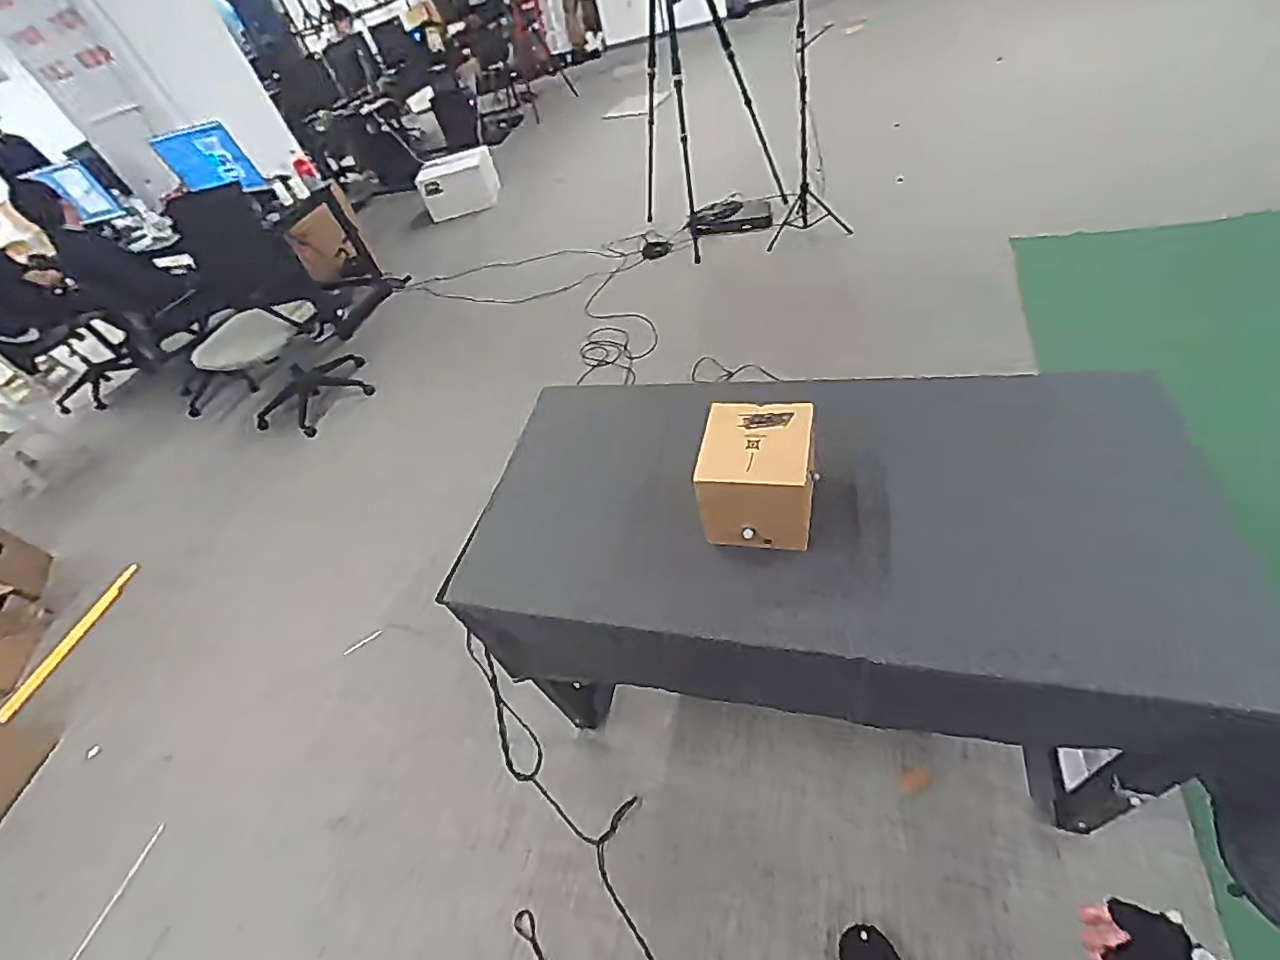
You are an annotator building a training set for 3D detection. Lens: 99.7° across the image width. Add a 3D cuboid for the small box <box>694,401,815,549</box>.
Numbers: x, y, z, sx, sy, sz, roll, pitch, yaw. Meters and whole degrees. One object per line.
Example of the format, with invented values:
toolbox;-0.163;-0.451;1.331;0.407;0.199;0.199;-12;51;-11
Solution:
small box;0.196;-0.011;0.895;0.168;0.176;0.179;3;50;21
